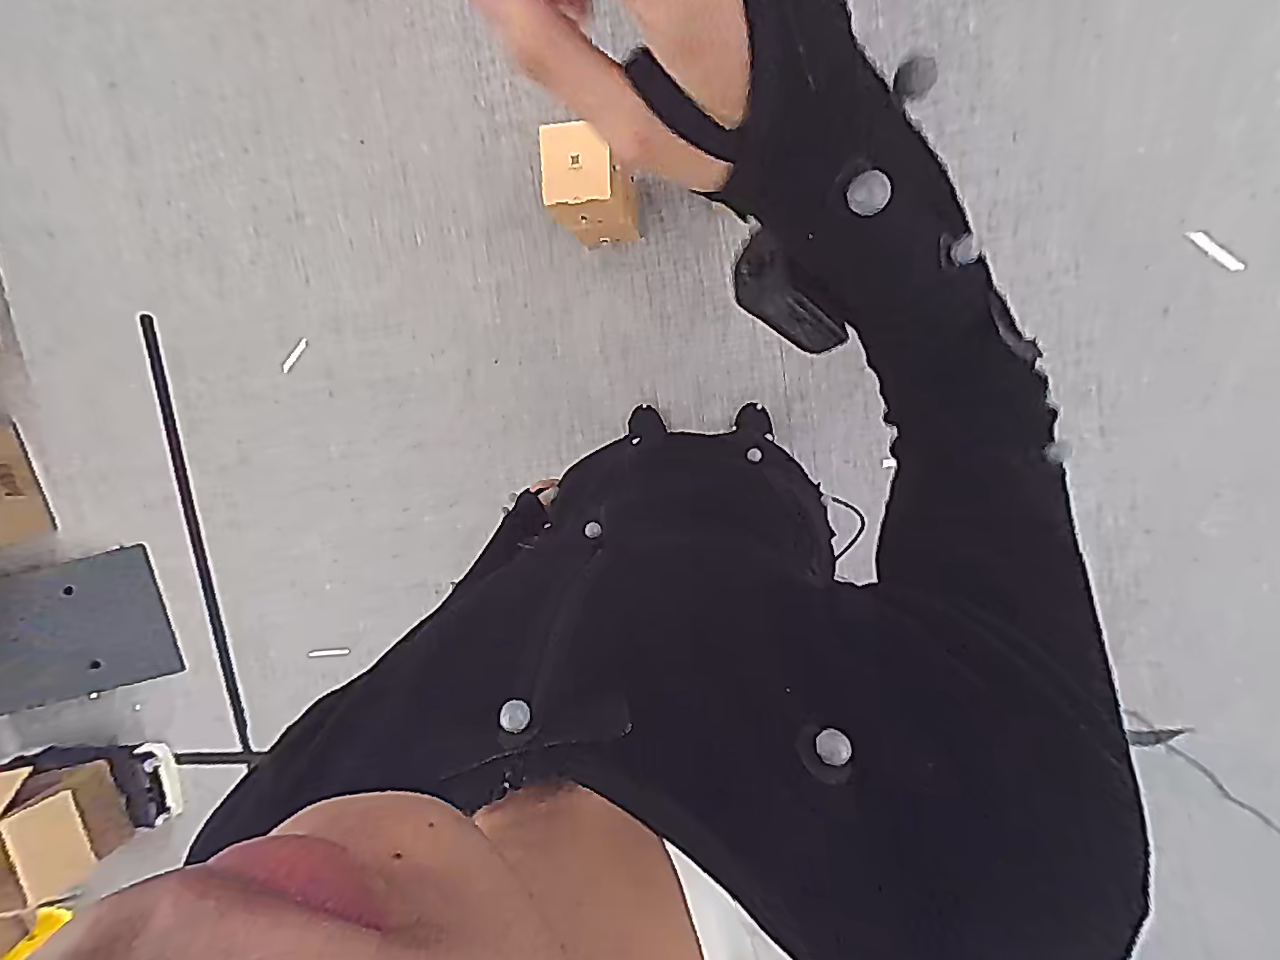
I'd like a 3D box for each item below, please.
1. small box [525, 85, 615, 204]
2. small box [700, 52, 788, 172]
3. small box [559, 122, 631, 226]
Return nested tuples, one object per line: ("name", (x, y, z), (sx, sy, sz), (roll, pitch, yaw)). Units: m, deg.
("small box", (-0.154, -0.764, 1.246), (0.168, 0.176, 0.179), (-1, 99, 9))
("small box", (0.222, -0.813, 1.184), (0.168, 0.176, 0.179), (-8, 97, 9))
("small box", (-0.121, -0.785, 1.404), (0.168, 0.176, 0.179), (-4, 97, 9))
